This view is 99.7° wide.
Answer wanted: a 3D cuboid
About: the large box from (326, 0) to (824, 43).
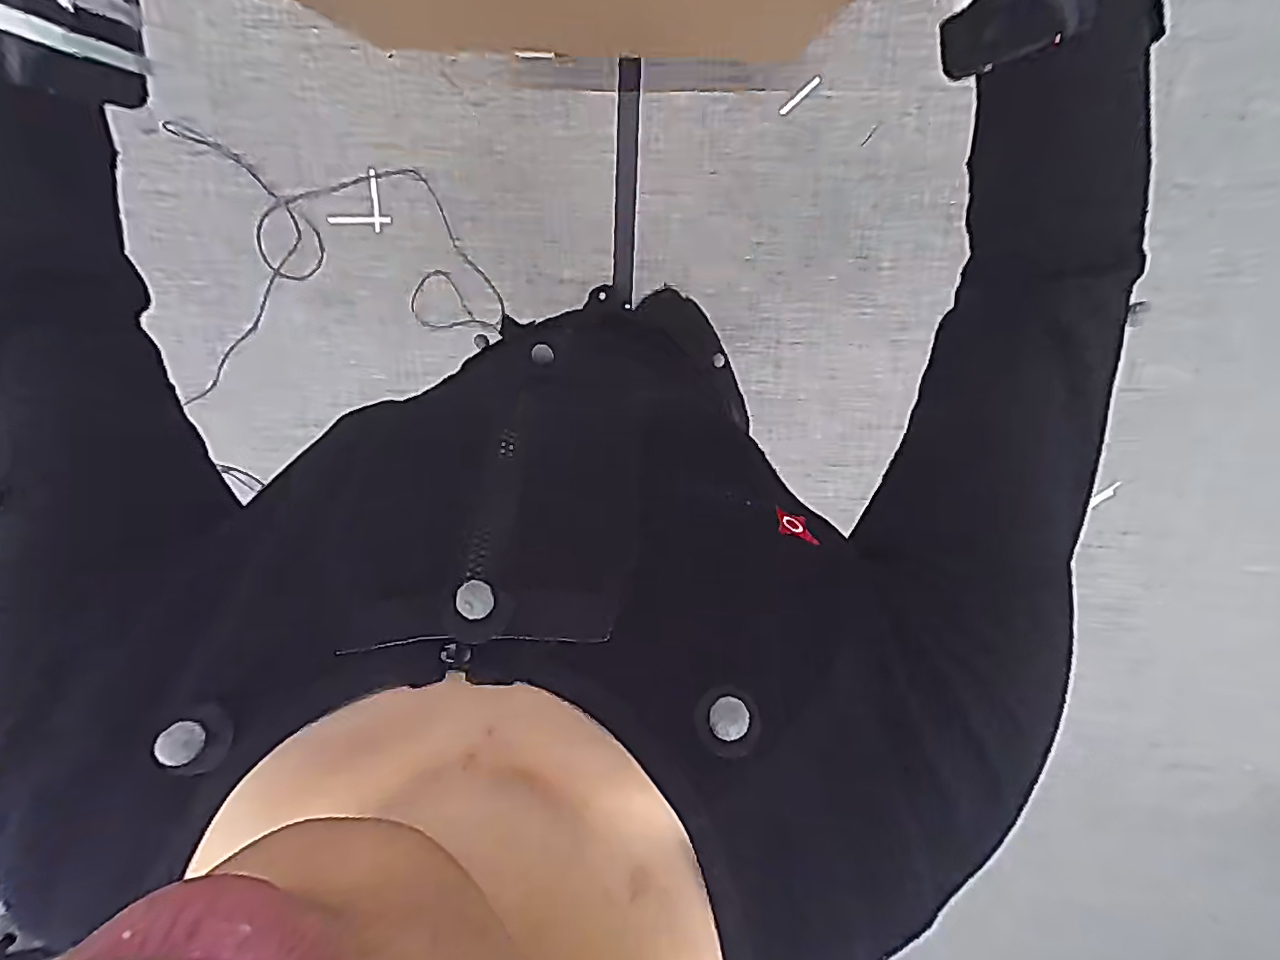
[{"bbox_3d":[-0.052,-0.485,0.310,0.408,0.320,0.320,1,118,0],"label":"large box"}]
